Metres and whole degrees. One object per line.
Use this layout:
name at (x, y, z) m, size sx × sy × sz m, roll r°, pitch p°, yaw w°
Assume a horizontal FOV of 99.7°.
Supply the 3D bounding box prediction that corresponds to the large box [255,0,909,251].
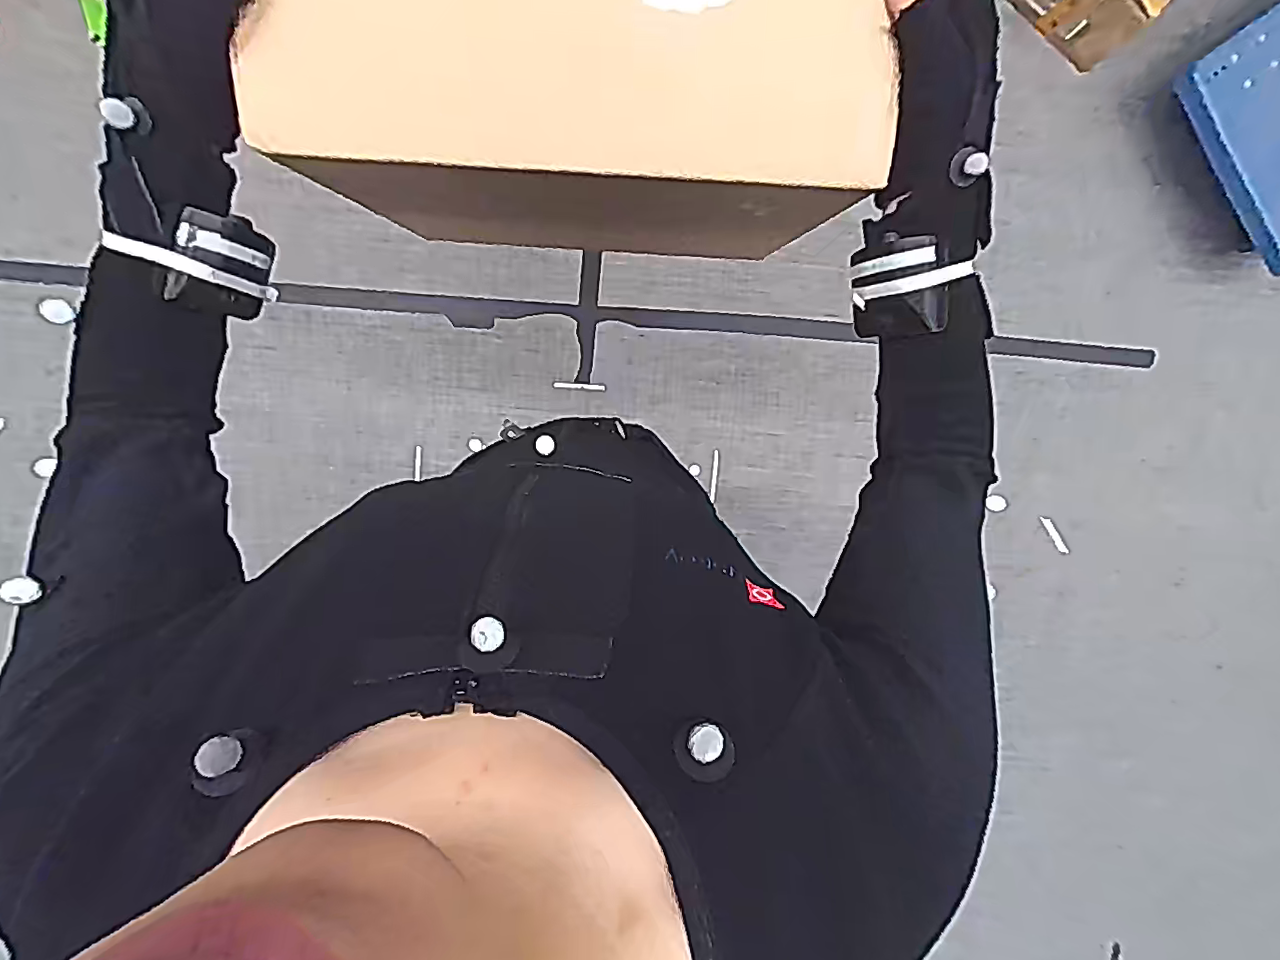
large box at (-0.036, -0.387, 0.457) m, size 0.408 × 0.320 × 0.320 m, roll 1°, pitch 105°, yaw -4°
